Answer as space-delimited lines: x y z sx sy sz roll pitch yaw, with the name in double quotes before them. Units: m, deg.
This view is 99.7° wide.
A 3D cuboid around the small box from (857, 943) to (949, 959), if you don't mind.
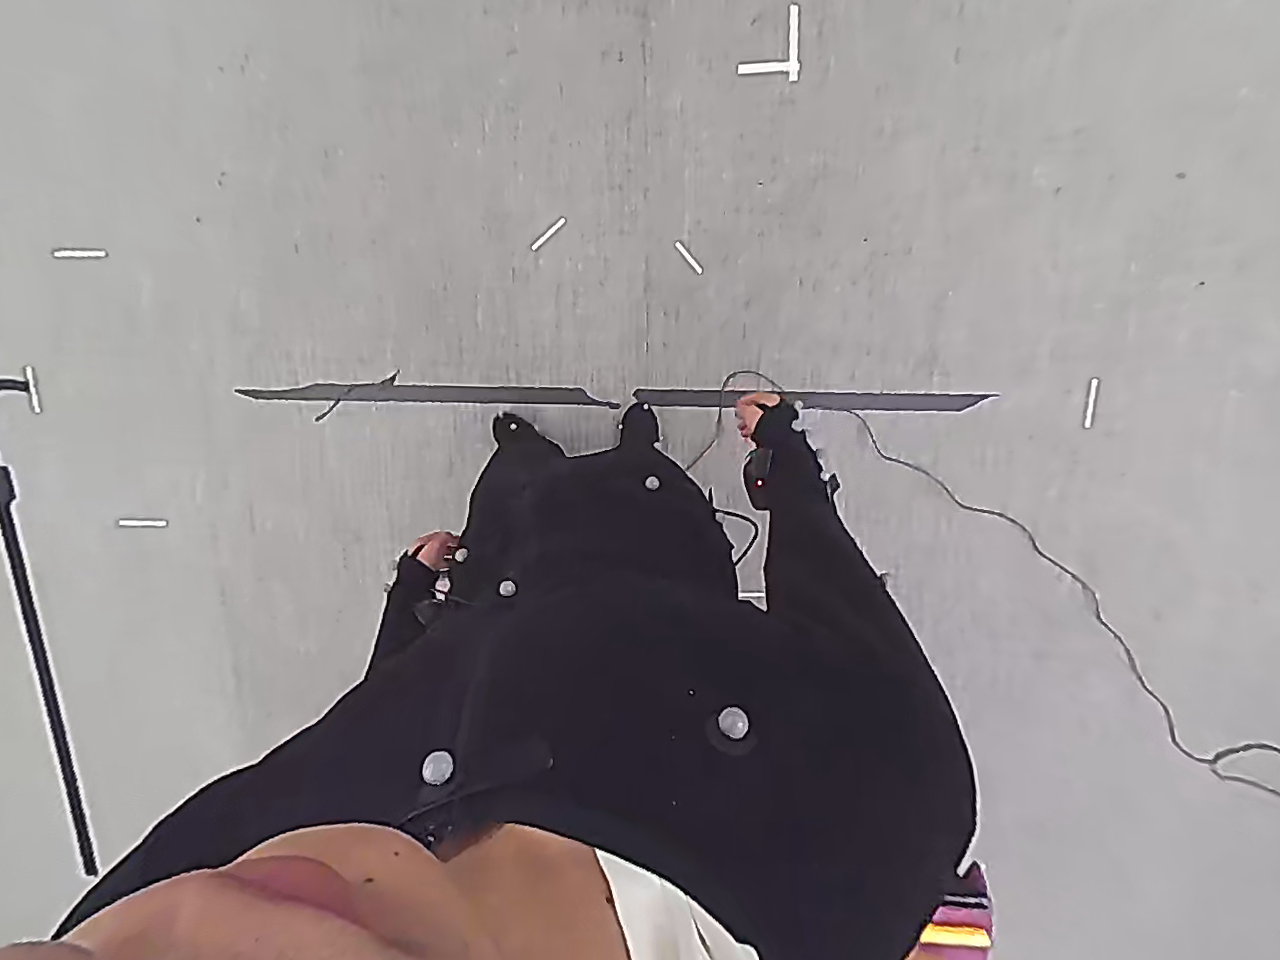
"small box" 0.489 0.984 0.970 0.179 0.176 0.168 5 101 2
